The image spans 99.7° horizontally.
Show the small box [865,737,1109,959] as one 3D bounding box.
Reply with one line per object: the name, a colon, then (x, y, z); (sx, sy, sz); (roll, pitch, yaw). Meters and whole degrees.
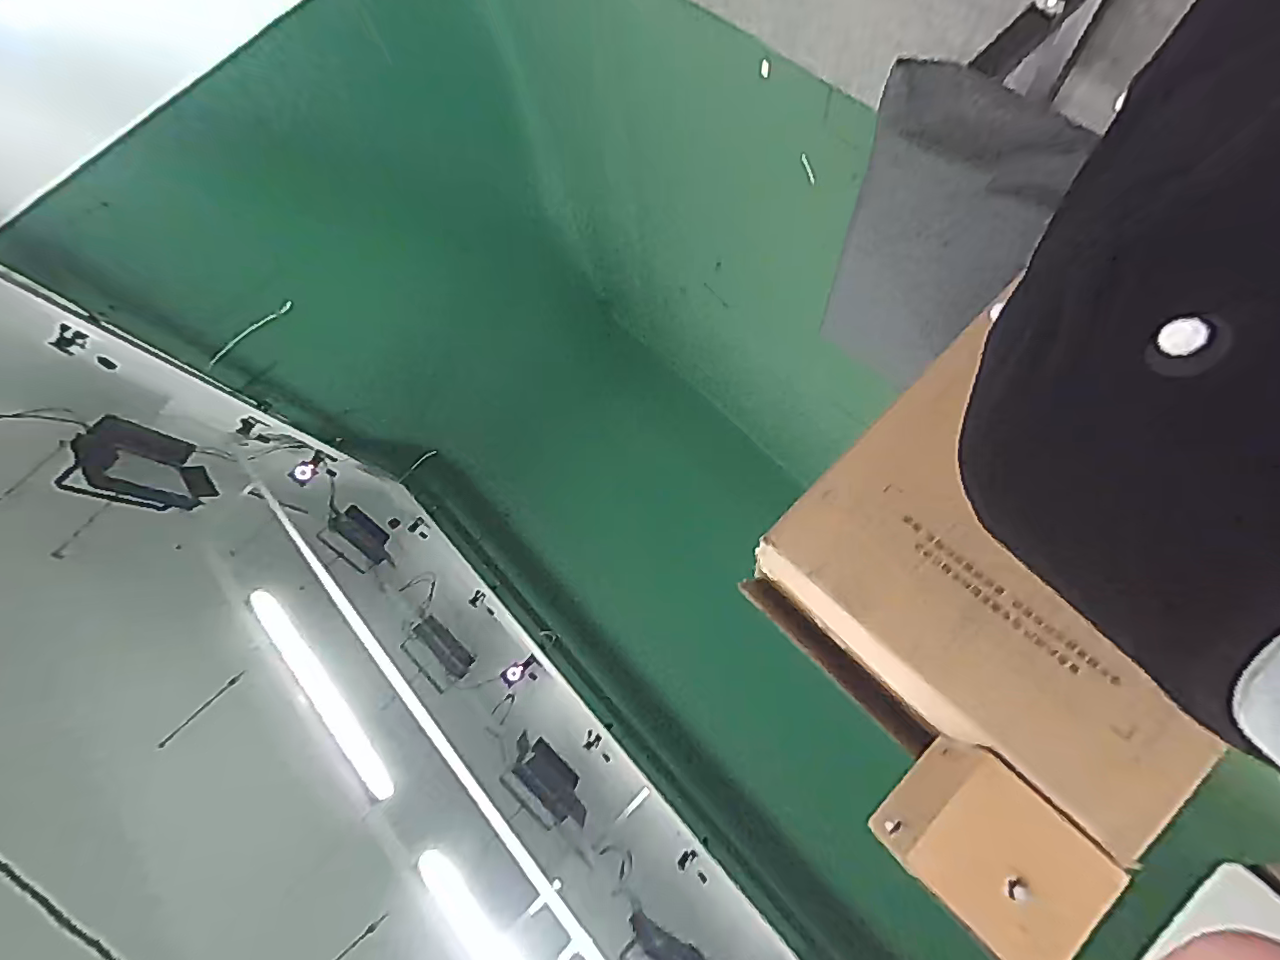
small box: (0.431, 0.469, 0.694); (0.179, 0.176, 0.168); (41, 171, 19)
